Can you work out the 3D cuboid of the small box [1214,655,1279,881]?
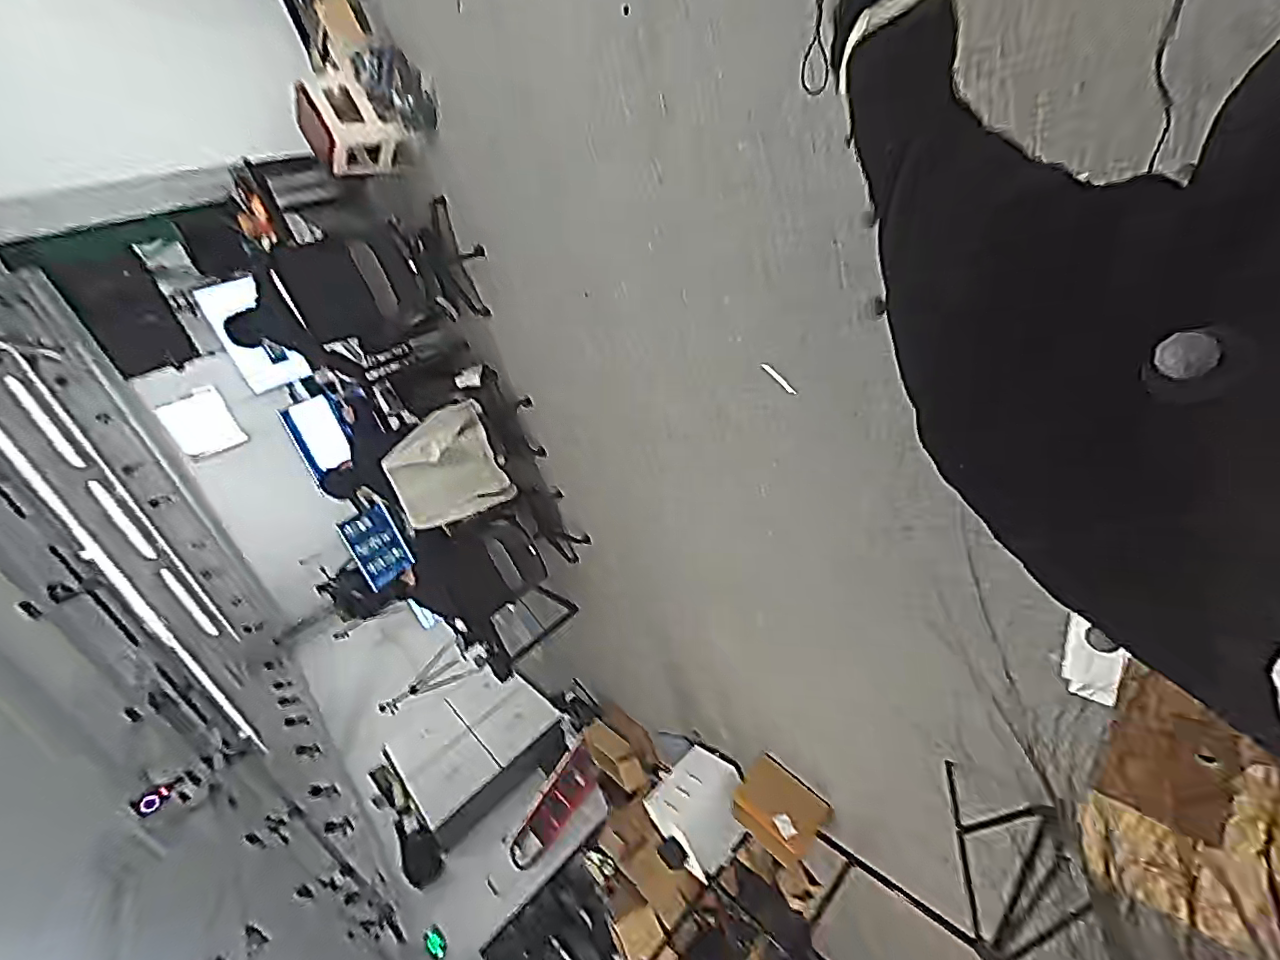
[{"bbox_3d":[0.736,0.321,0.556,0.168,0.176,0.179,13,129,48],"label":"small box"}]

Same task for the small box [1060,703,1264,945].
[{"bbox_3d":[0.700,0.446,0.724,0.168,0.176,0.179,18,131,45],"label":"small box"}]
